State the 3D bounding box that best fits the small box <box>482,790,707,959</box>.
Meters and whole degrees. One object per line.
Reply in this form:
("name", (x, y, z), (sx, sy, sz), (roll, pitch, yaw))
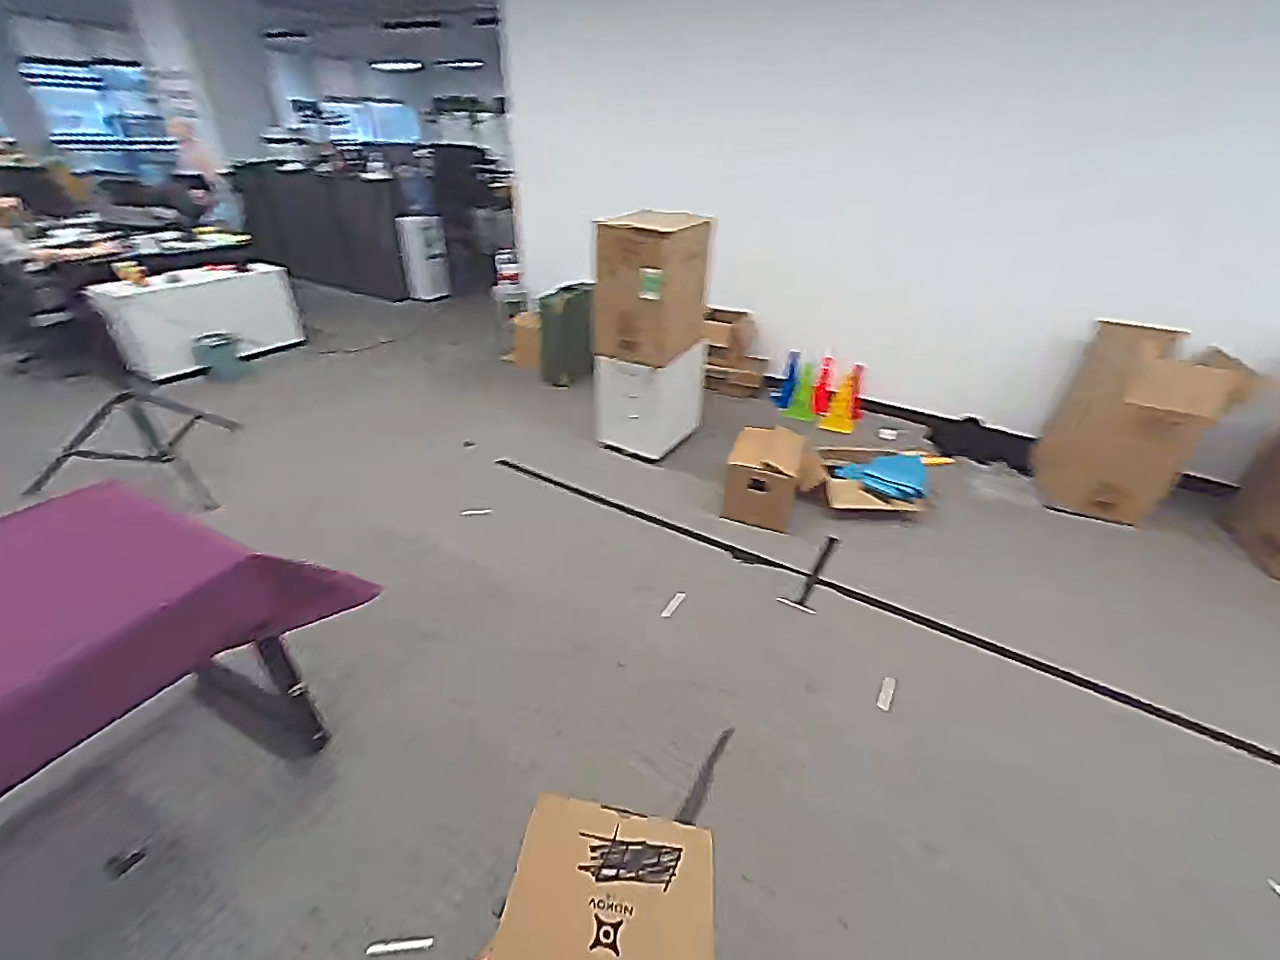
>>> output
("small box", (-0.043, 0.409, 0.454), (0.168, 0.176, 0.179), (12, 25, 1))
